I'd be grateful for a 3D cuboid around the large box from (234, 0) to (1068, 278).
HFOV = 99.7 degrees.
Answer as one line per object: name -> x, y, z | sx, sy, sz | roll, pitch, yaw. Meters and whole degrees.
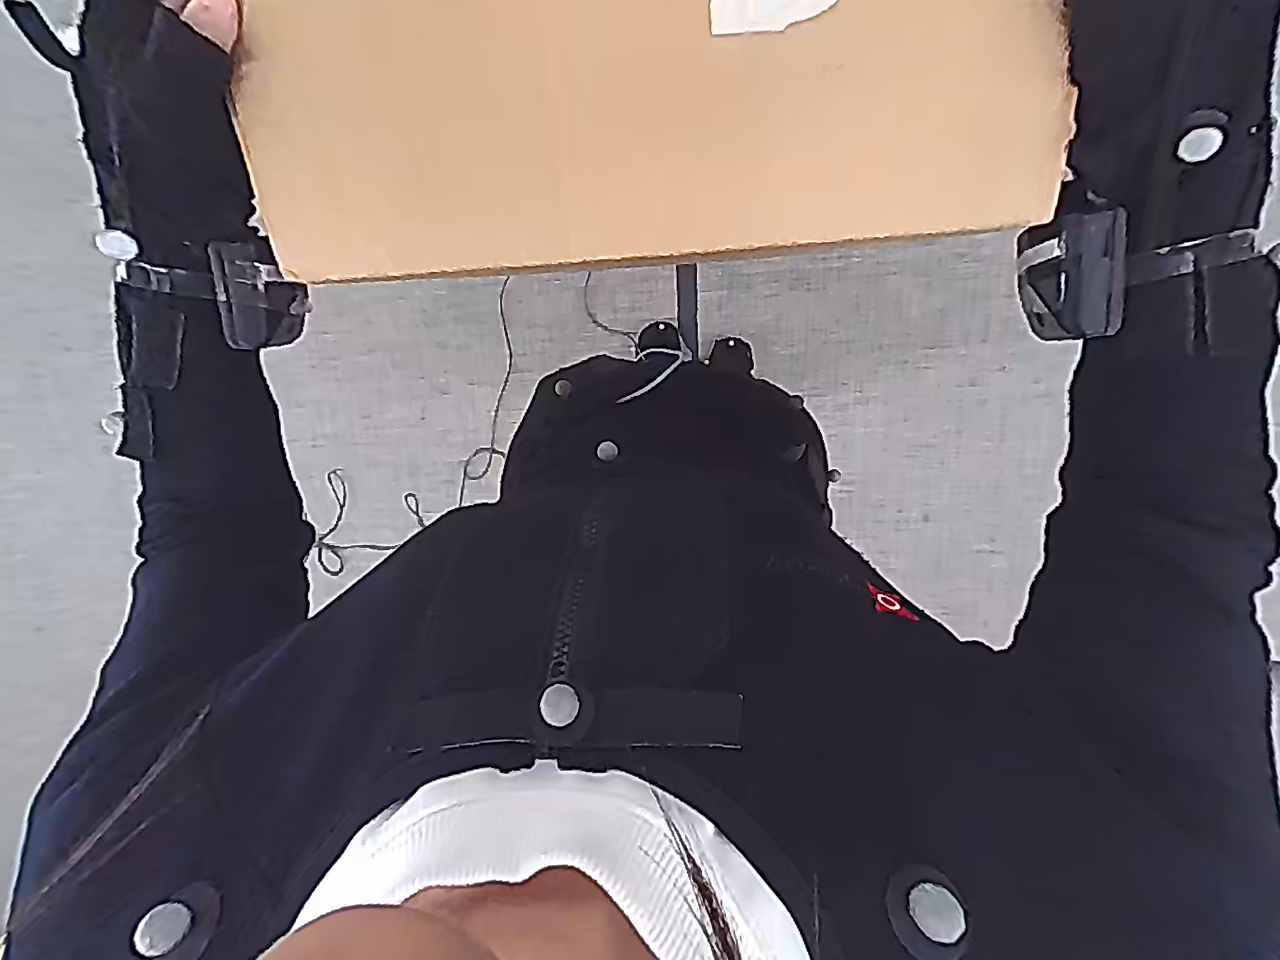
large box -> 0.003, -0.326, 0.381 | 0.408, 0.320, 0.320 | -3, 112, 5
